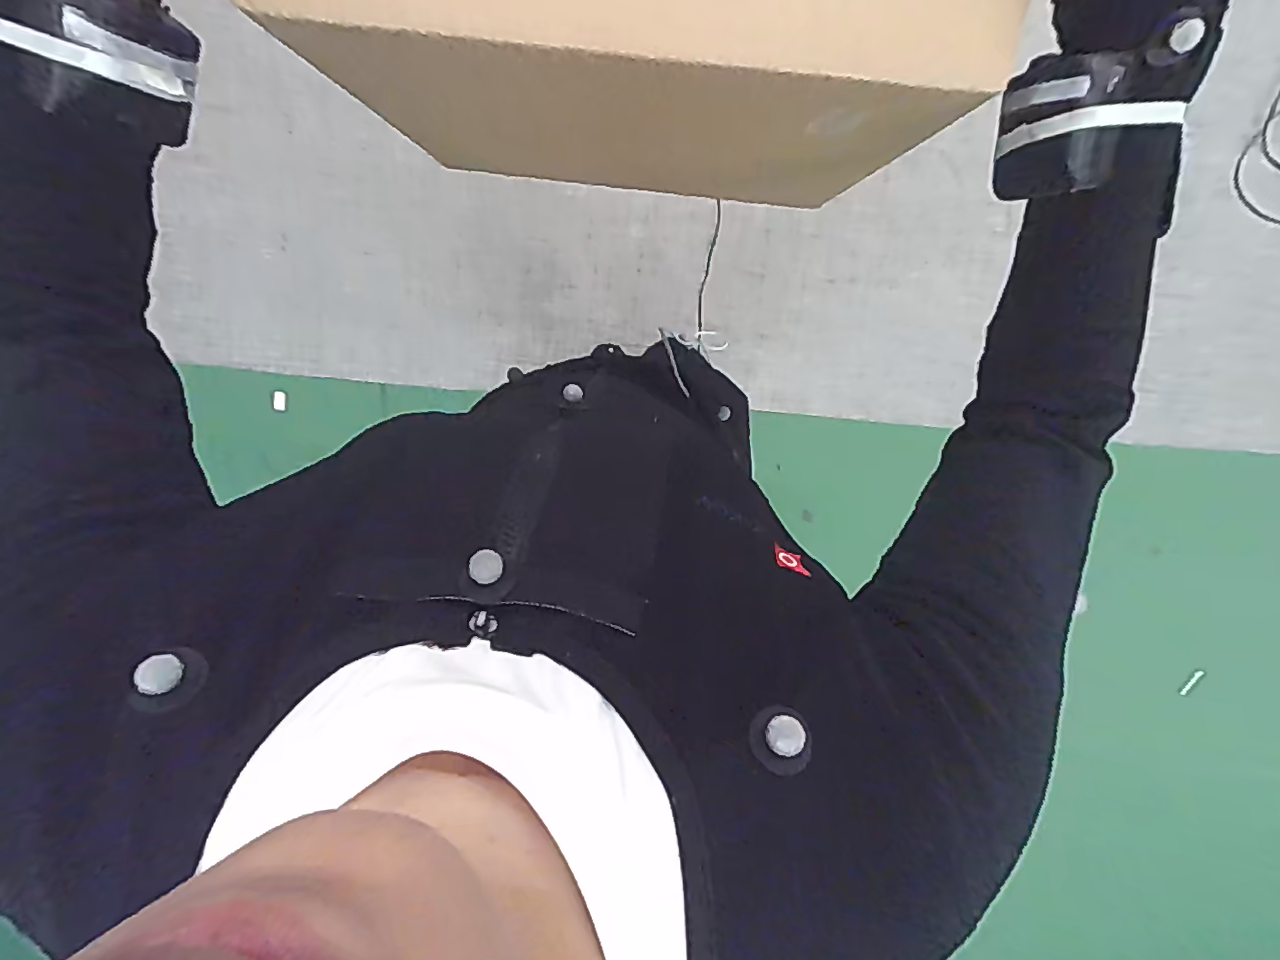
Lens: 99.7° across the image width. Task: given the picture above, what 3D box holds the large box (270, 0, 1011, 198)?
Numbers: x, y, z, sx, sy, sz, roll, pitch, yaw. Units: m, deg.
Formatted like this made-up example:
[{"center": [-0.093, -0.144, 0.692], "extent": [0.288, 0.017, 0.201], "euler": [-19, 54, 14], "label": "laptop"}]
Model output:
[{"center": [0.008, -0.421, 0.395], "extent": [0.408, 0.320, 0.320], "euler": [5, 107, -1], "label": "large box"}]
